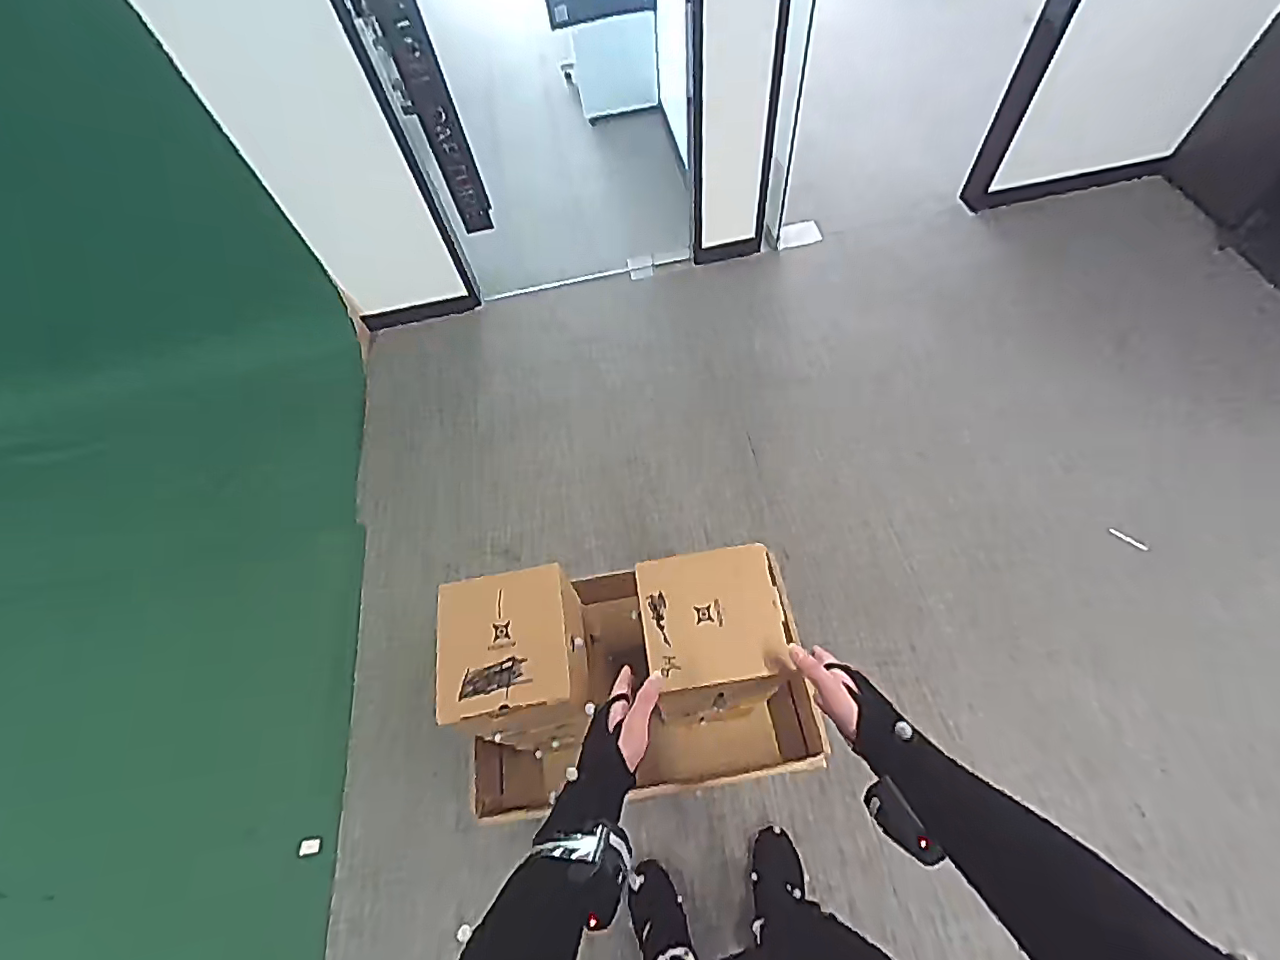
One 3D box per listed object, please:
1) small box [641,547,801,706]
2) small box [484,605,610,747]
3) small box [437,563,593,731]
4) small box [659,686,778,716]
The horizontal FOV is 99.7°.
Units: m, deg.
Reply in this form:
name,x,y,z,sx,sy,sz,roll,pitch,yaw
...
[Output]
name,x,y,z,sx,sy,sz,roll,pitch,yaw
small box,0.099,0.205,0.740,0.179,0.176,0.168,-8,61,0
small box,-0.146,0.323,0.880,0.168,0.176,0.179,-9,60,0
small box,-0.163,0.237,0.741,0.168,0.176,0.179,-10,59,-1
small box,0.112,0.283,0.883,0.179,0.176,0.168,-8,62,0
